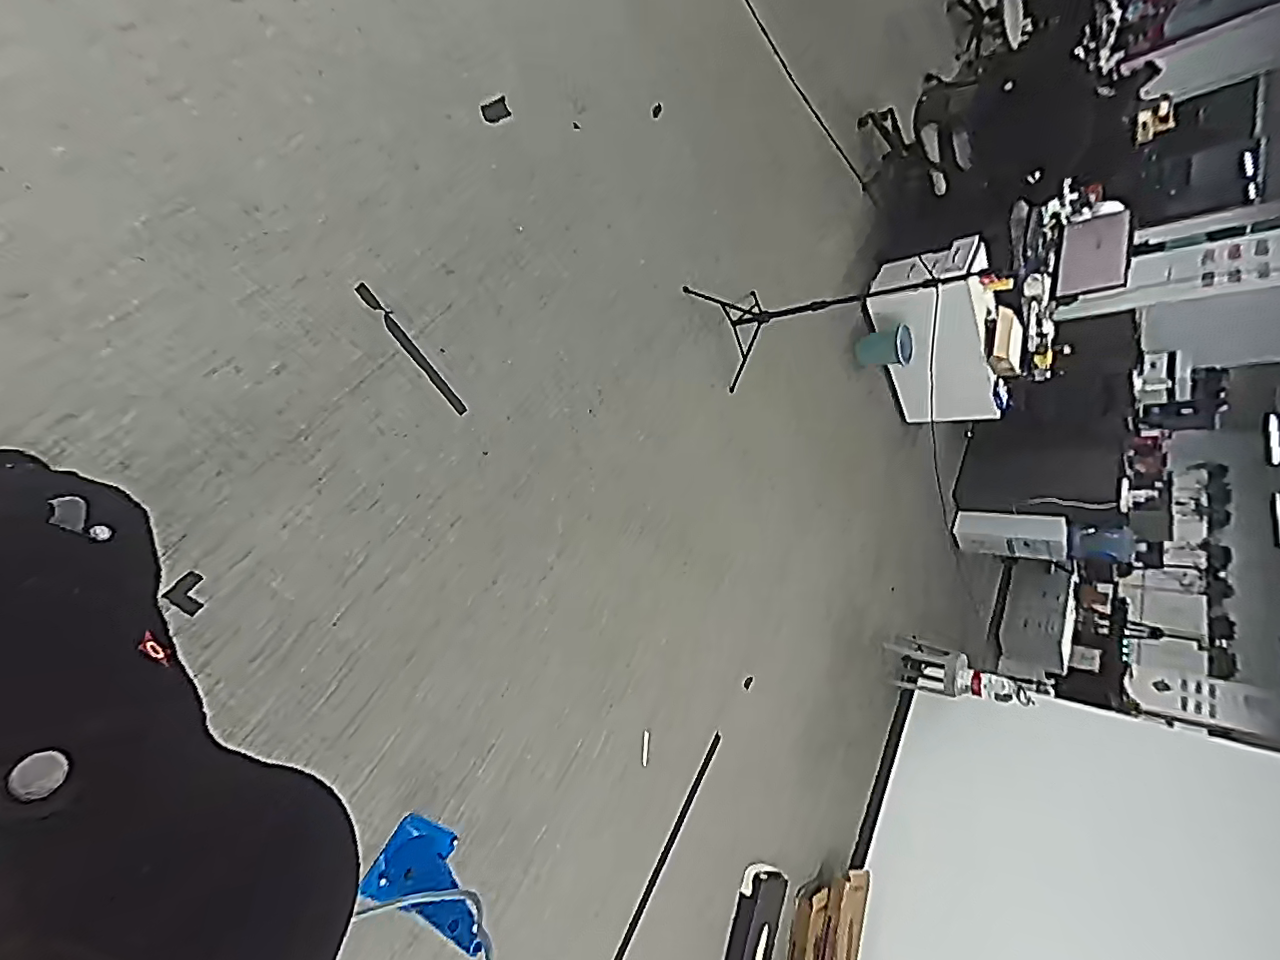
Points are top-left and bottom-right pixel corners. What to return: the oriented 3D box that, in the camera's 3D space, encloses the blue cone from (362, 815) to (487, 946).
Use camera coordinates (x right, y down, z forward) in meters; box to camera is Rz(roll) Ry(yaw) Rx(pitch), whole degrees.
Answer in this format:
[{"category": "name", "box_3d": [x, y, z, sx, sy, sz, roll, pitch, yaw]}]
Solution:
[{"category": "blue cone", "box_3d": [-0.487, 1.004, 1.304, 0.192, 0.380, 0.193, -55, 127, -30]}]
